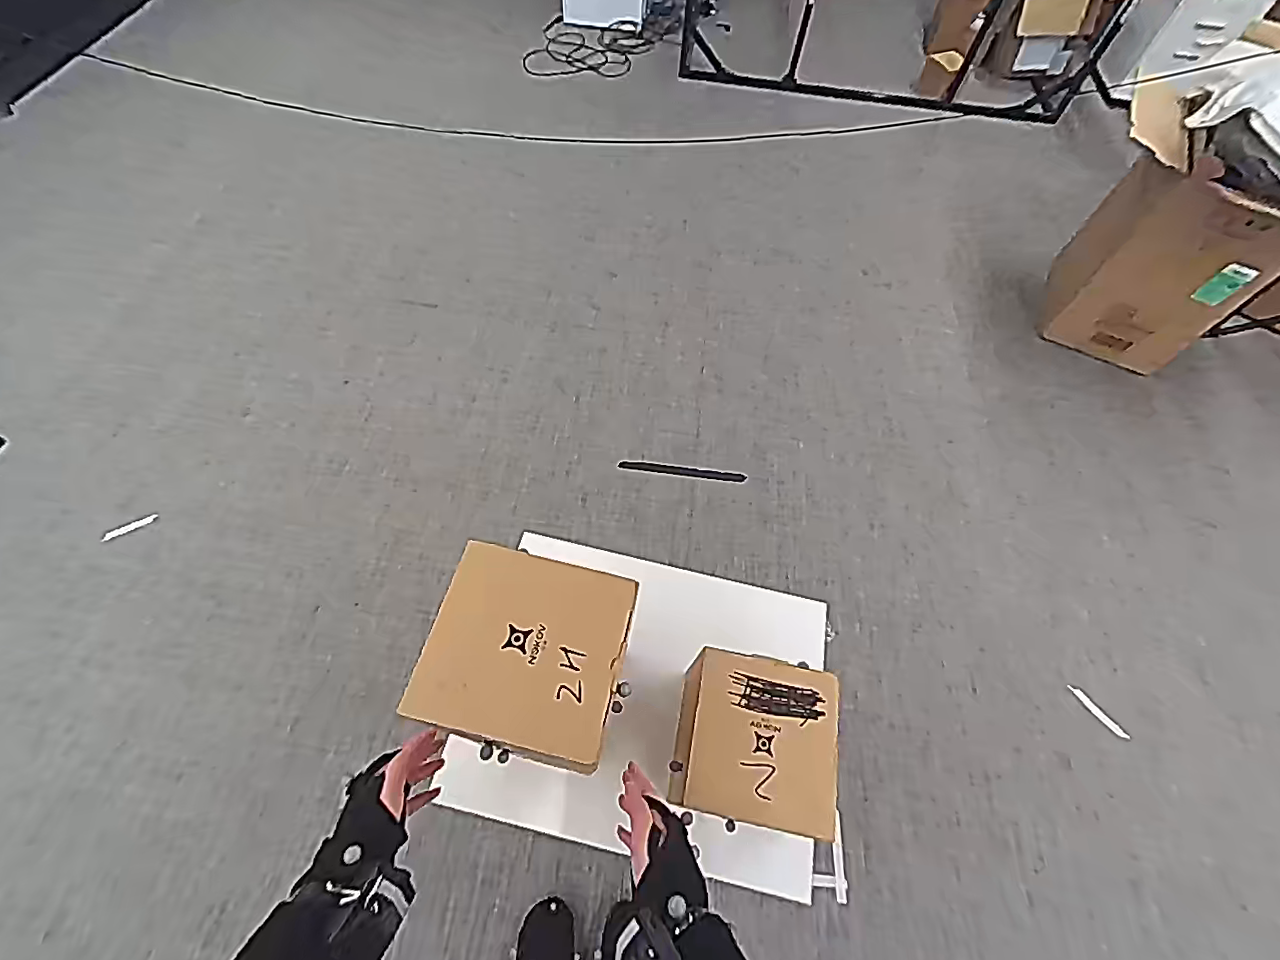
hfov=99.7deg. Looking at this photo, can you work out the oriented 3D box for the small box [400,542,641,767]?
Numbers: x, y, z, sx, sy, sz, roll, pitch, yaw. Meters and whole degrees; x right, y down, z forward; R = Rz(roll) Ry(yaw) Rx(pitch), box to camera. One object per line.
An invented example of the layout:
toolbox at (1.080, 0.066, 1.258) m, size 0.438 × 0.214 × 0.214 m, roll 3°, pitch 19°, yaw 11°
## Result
small box at (-0.106, 0.187, 0.558) m, size 0.179 × 0.176 × 0.168 m, roll 14°, pitch 61°, yaw 4°
